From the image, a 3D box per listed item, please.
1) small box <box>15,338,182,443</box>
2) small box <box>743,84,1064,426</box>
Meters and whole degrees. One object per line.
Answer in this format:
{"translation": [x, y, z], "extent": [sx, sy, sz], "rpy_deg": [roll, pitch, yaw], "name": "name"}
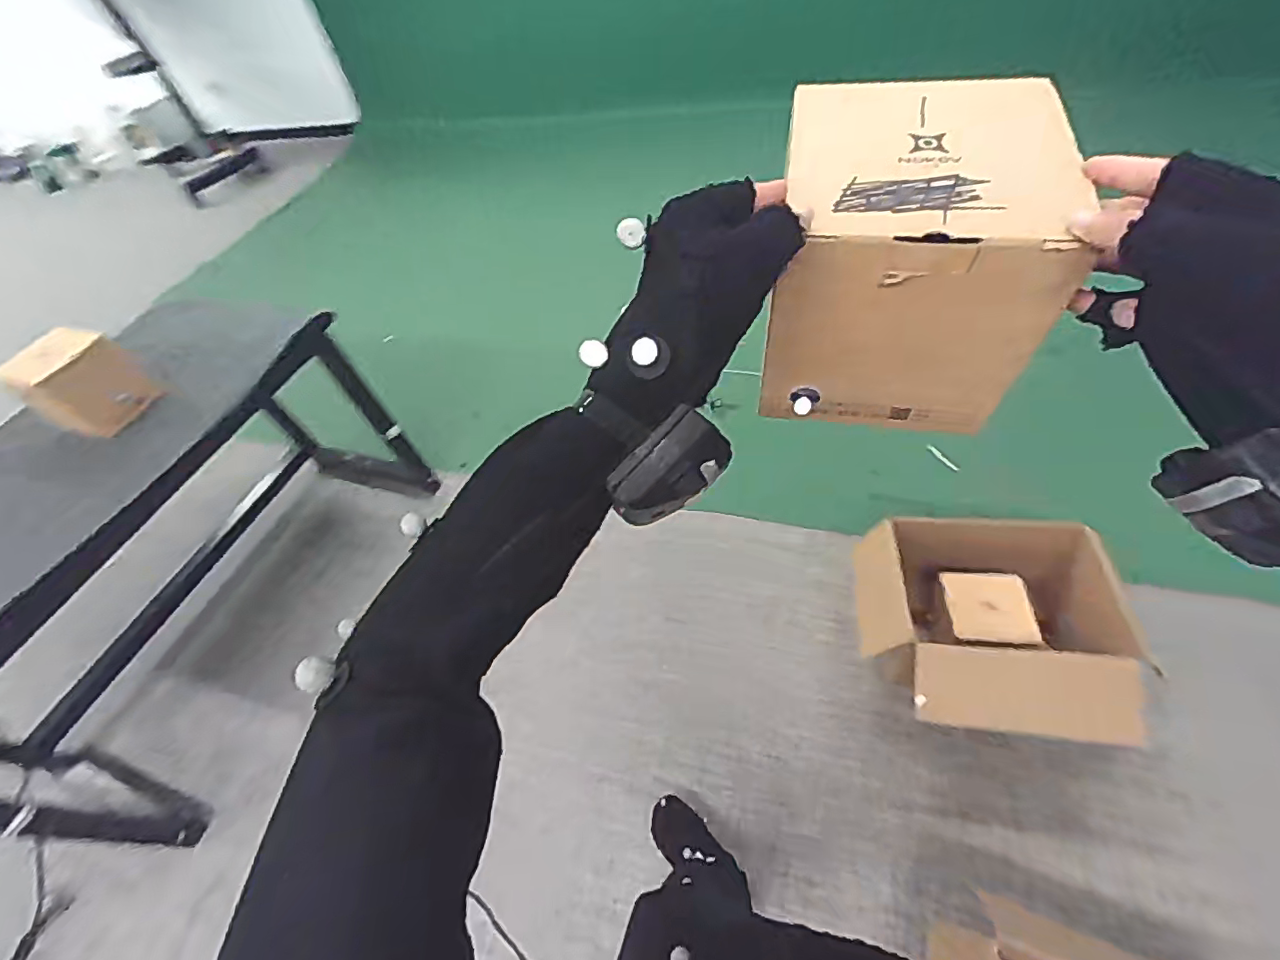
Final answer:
{"translation": [-1.231, -0.203, 1.242], "extent": [0.179, 0.176, 0.168], "rpy_deg": [11, 56, 19], "name": "small box"}
{"translation": [0.168, -0.158, 0.406], "extent": [0.168, 0.176, 0.179], "rpy_deg": [5, 59, 11], "name": "small box"}
